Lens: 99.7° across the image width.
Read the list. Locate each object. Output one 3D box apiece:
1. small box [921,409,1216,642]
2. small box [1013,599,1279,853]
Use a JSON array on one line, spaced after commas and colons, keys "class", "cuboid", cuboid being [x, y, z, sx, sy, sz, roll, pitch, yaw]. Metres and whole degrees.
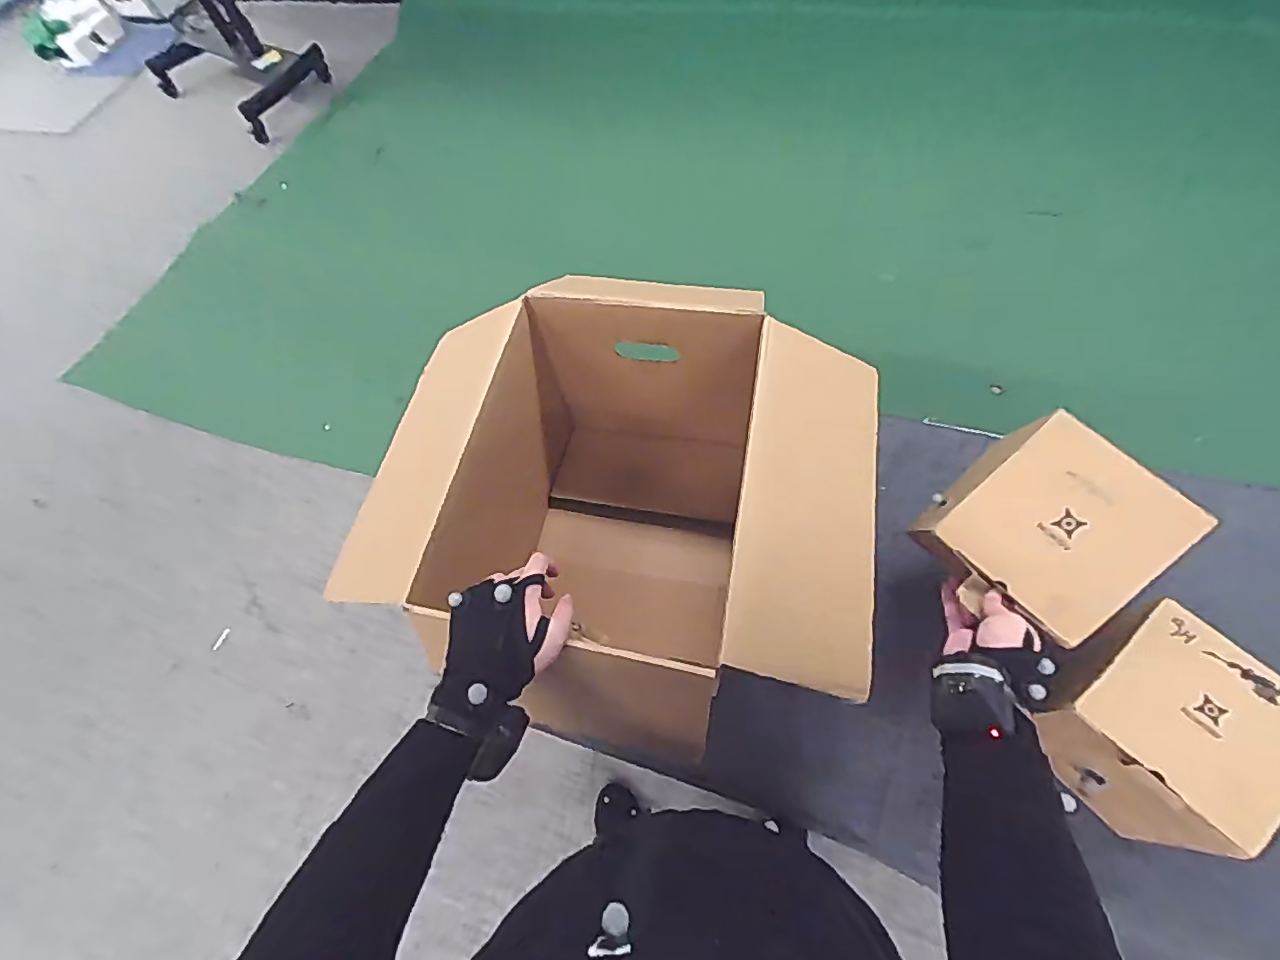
[{"class": "small box", "cuboid": [0.449, 0.050, 0.611, 0.179, 0.176, 0.168, -47, 75, 9]}, {"class": "small box", "cuboid": [0.563, 0.267, 0.602, 0.179, 0.176, 0.168, -38, 65, -11]}]
